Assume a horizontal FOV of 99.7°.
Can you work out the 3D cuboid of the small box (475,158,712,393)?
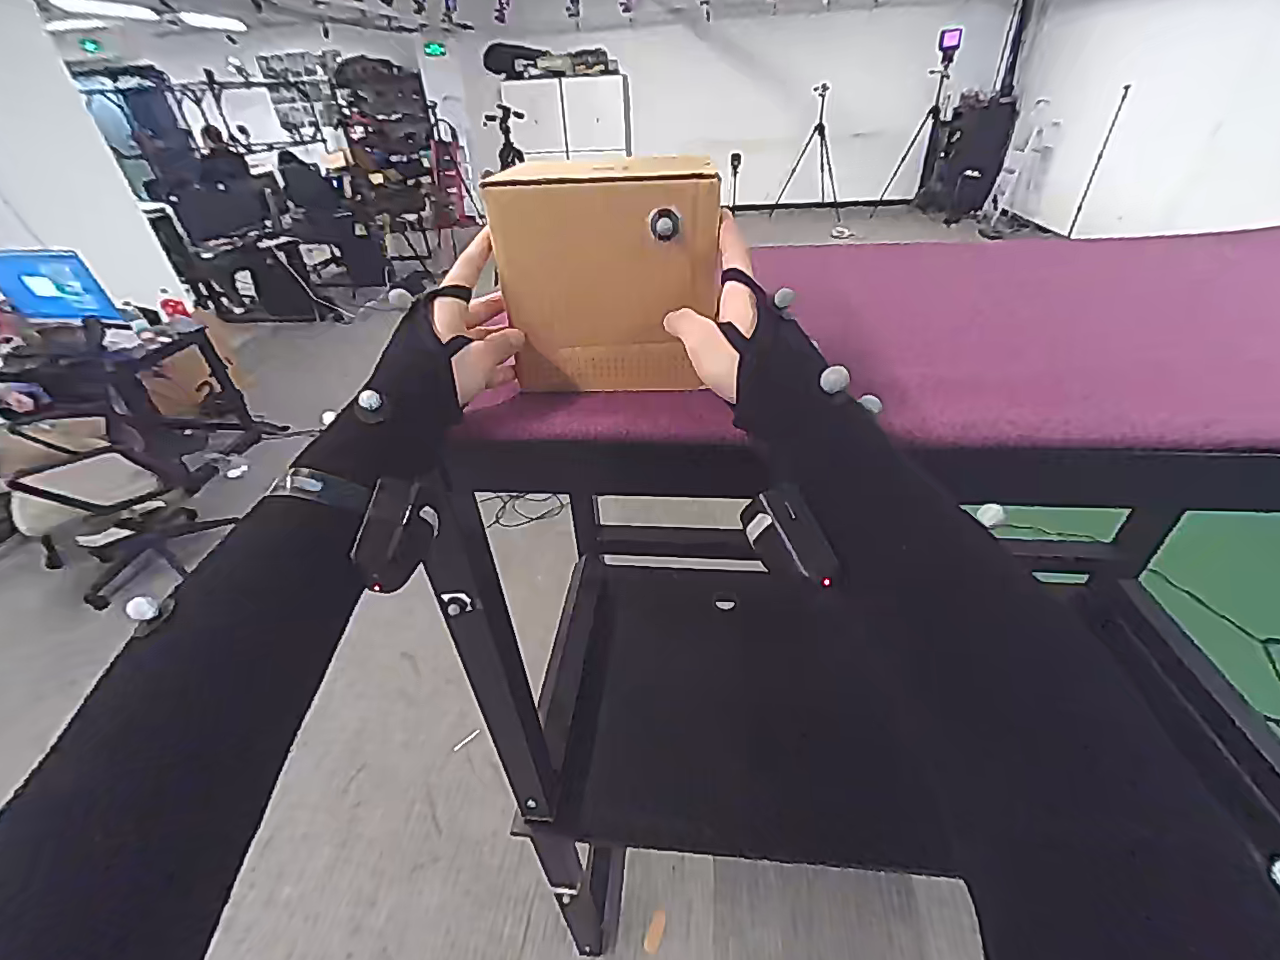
[{"bbox_3d":[-0.025,-0.187,0.495,0.179,0.176,0.168,-1,35,5],"label":"small box"}]
